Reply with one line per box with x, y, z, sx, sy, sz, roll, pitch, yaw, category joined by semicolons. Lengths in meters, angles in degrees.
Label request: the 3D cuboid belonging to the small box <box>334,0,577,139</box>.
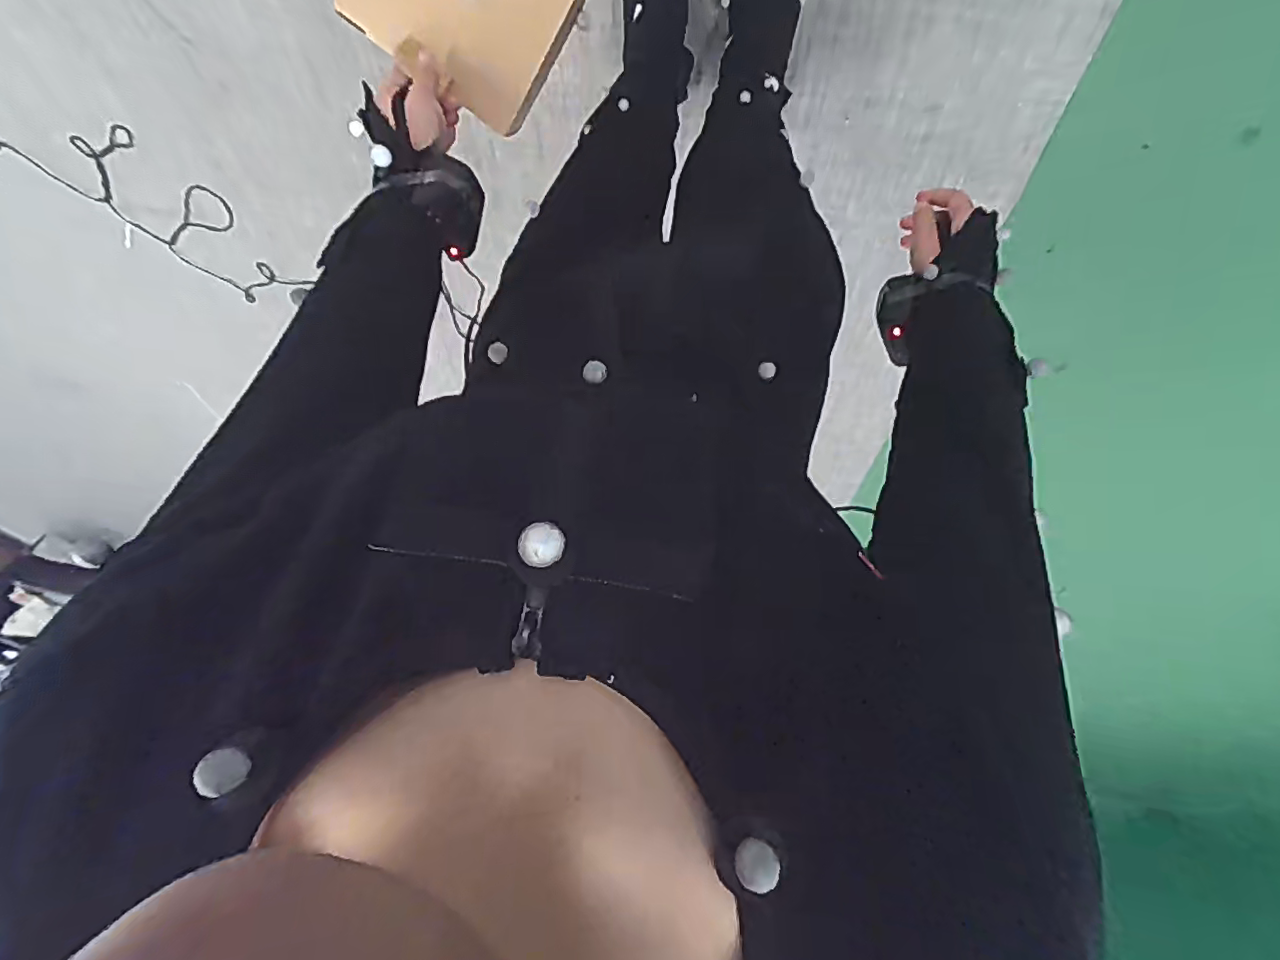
-0.164;-0.472;0.530;0.168;0.179;0.176;27;116;-24;small box
